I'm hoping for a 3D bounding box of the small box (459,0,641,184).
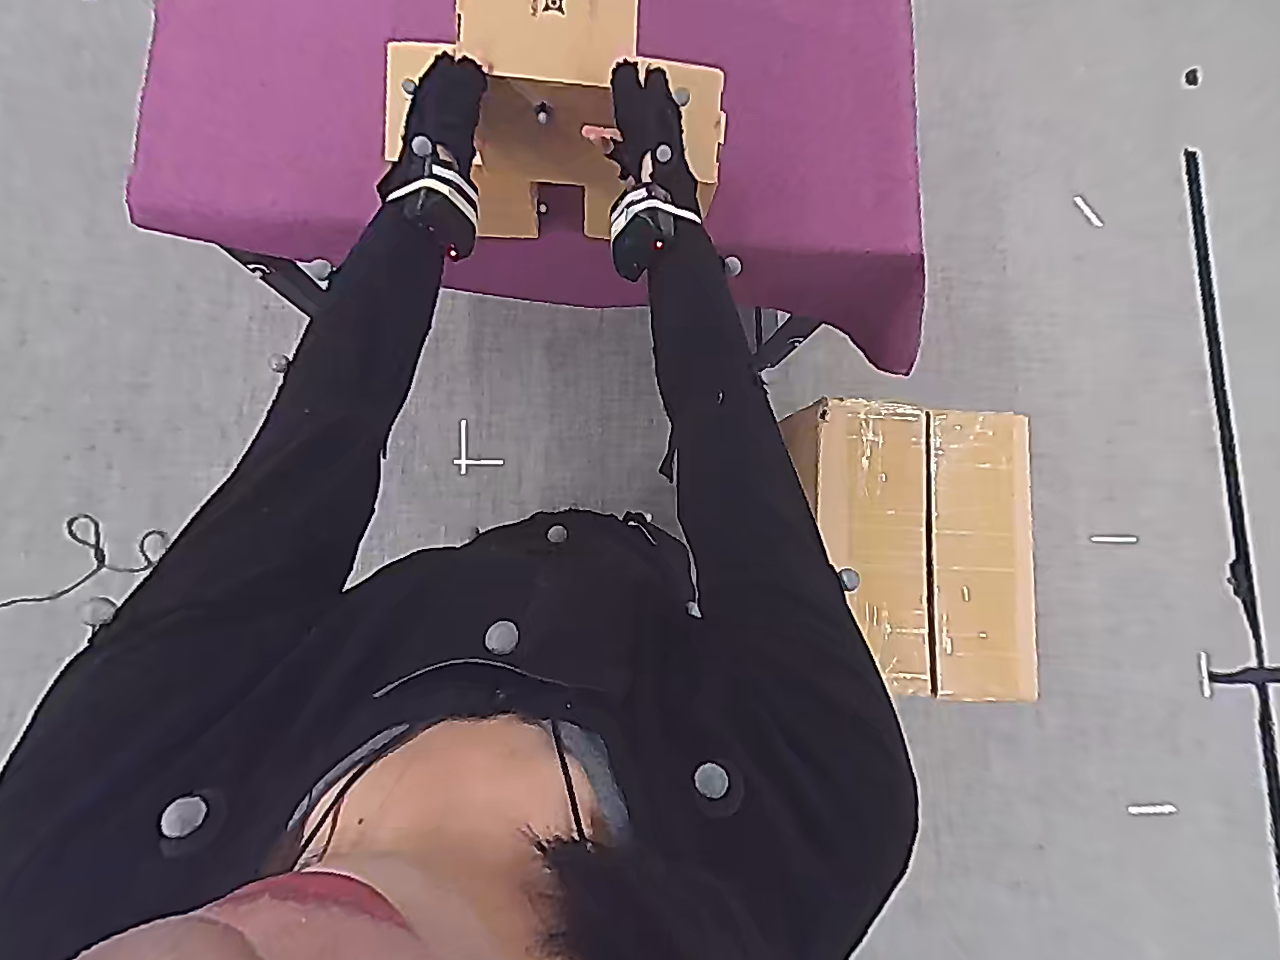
[{"bbox_3d":[-0.094,-0.465,0.613,0.179,0.176,0.168,2,86,-7],"label":"small box"}]

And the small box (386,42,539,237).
[{"bbox_3d":[-0.235,-0.464,0.762,0.179,0.176,0.168,0,83,-5],"label":"small box"}]

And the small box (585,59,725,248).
[{"bbox_3d":[0.014,-0.464,0.790,0.179,0.176,0.168,5,83,-5],"label":"small box"}]
